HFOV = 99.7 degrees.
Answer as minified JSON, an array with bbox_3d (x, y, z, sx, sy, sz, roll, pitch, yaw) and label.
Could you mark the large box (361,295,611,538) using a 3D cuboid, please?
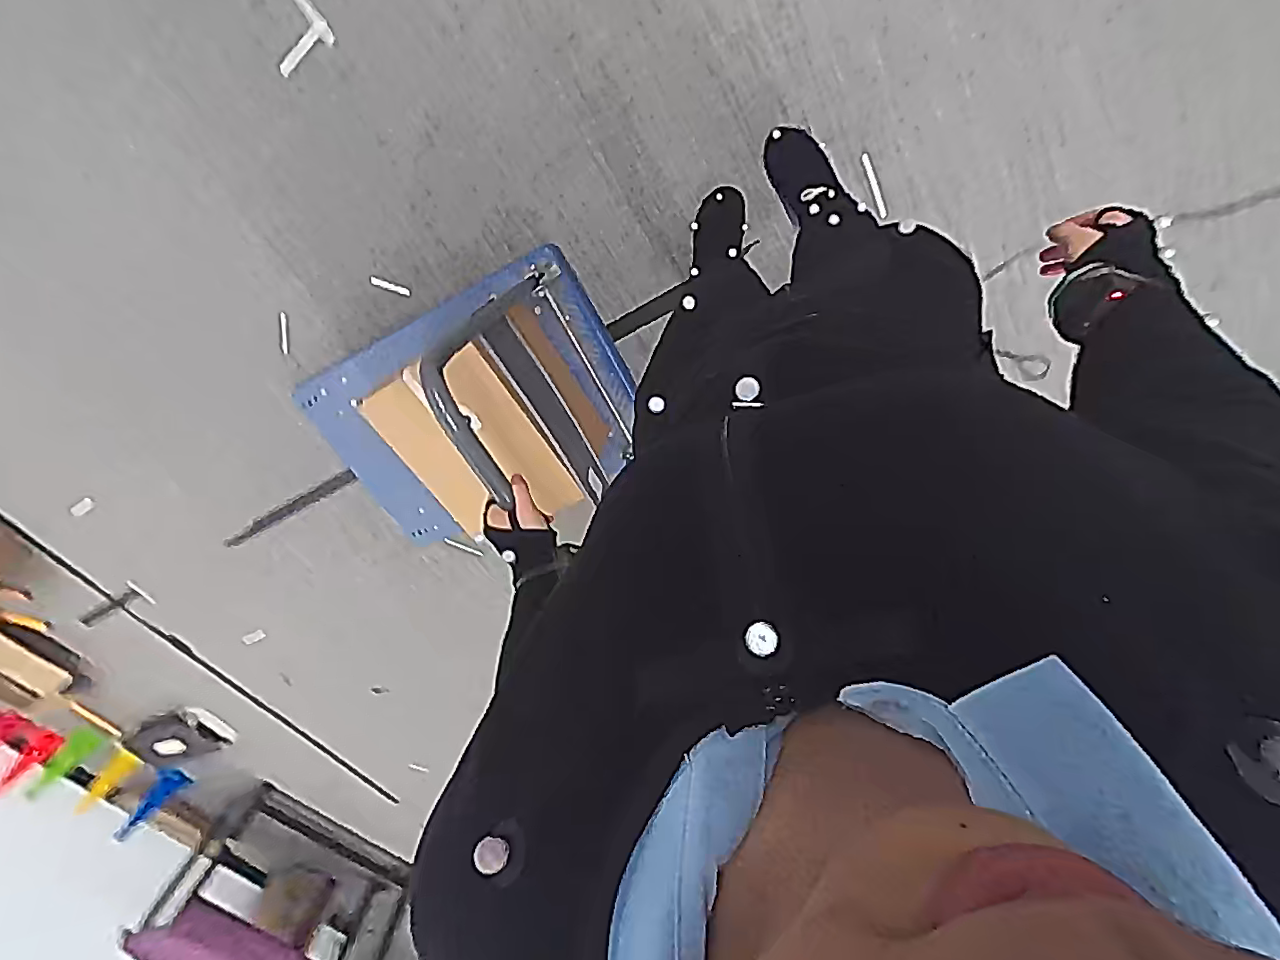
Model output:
[{"bbox_3d":[-0.320,-0.145,1.248,0.320,0.320,0.408,-24,115,21],"label":"large box"}]
